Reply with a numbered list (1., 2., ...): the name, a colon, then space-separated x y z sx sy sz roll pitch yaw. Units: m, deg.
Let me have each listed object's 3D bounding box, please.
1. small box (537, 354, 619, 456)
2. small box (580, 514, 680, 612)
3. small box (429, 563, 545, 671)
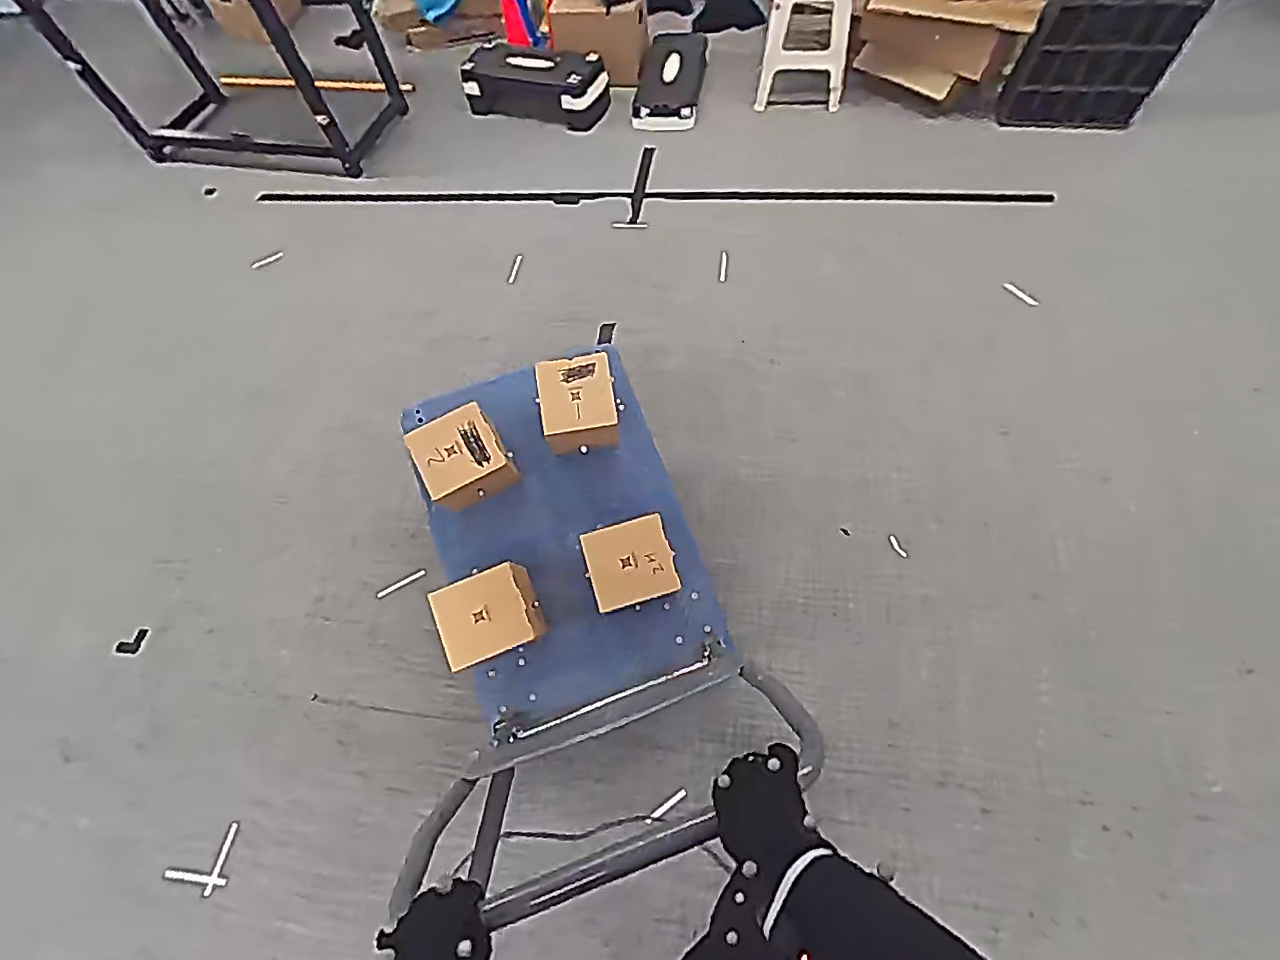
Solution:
1. small box: -0.142 -0.171 1.273 0.168 0.176 0.179 -9 77 -3
2. small box: -0.021 0.189 1.184 0.179 0.176 0.168 -16 77 -4
3. small box: -0.319 0.293 1.157 0.179 0.176 0.168 -22 77 -7
